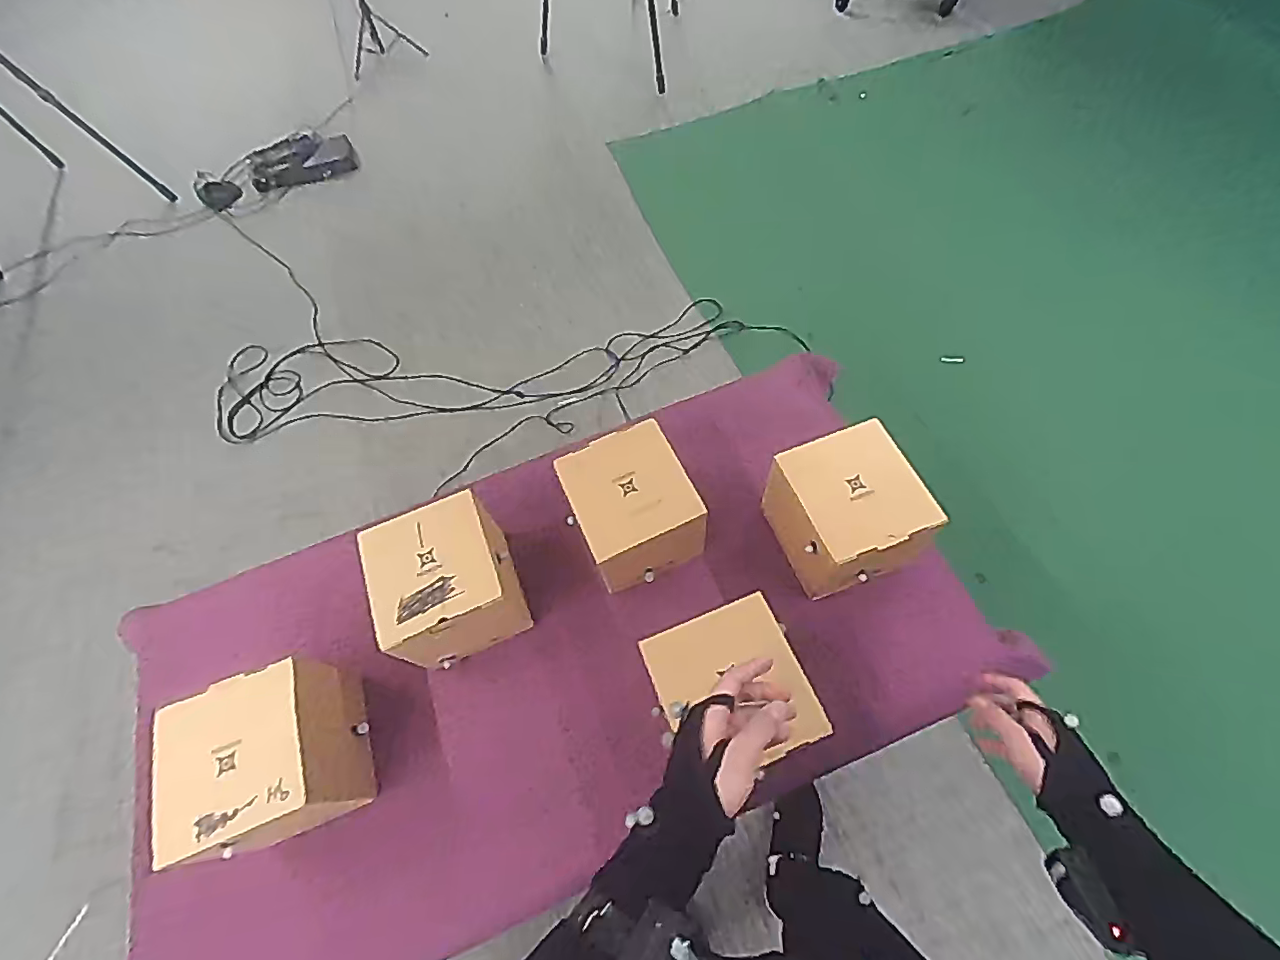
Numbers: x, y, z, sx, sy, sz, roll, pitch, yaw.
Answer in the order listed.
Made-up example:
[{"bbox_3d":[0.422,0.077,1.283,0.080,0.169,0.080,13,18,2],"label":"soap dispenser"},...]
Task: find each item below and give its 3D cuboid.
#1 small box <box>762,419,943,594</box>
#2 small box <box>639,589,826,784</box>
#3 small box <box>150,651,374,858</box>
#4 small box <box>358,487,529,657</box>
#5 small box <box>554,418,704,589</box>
[{"bbox_3d":[0.296,0.044,0.802,0.168,0.176,0.179,-20,63,-6],"label":"small box"},{"bbox_3d":[0.107,0.270,0.695,0.168,0.176,0.179,-21,62,-6],"label":"small box"},{"bbox_3d":[-0.471,0.348,0.696,0.168,0.176,0.179,-22,63,-6],"label":"small box"},{"bbox_3d":[-0.278,0.144,0.791,0.168,0.176,0.179,-22,62,-8],"label":"small box"},{"bbox_3d":[-0.015,0.042,0.827,0.168,0.176,0.179,-23,64,-7],"label":"small box"}]
